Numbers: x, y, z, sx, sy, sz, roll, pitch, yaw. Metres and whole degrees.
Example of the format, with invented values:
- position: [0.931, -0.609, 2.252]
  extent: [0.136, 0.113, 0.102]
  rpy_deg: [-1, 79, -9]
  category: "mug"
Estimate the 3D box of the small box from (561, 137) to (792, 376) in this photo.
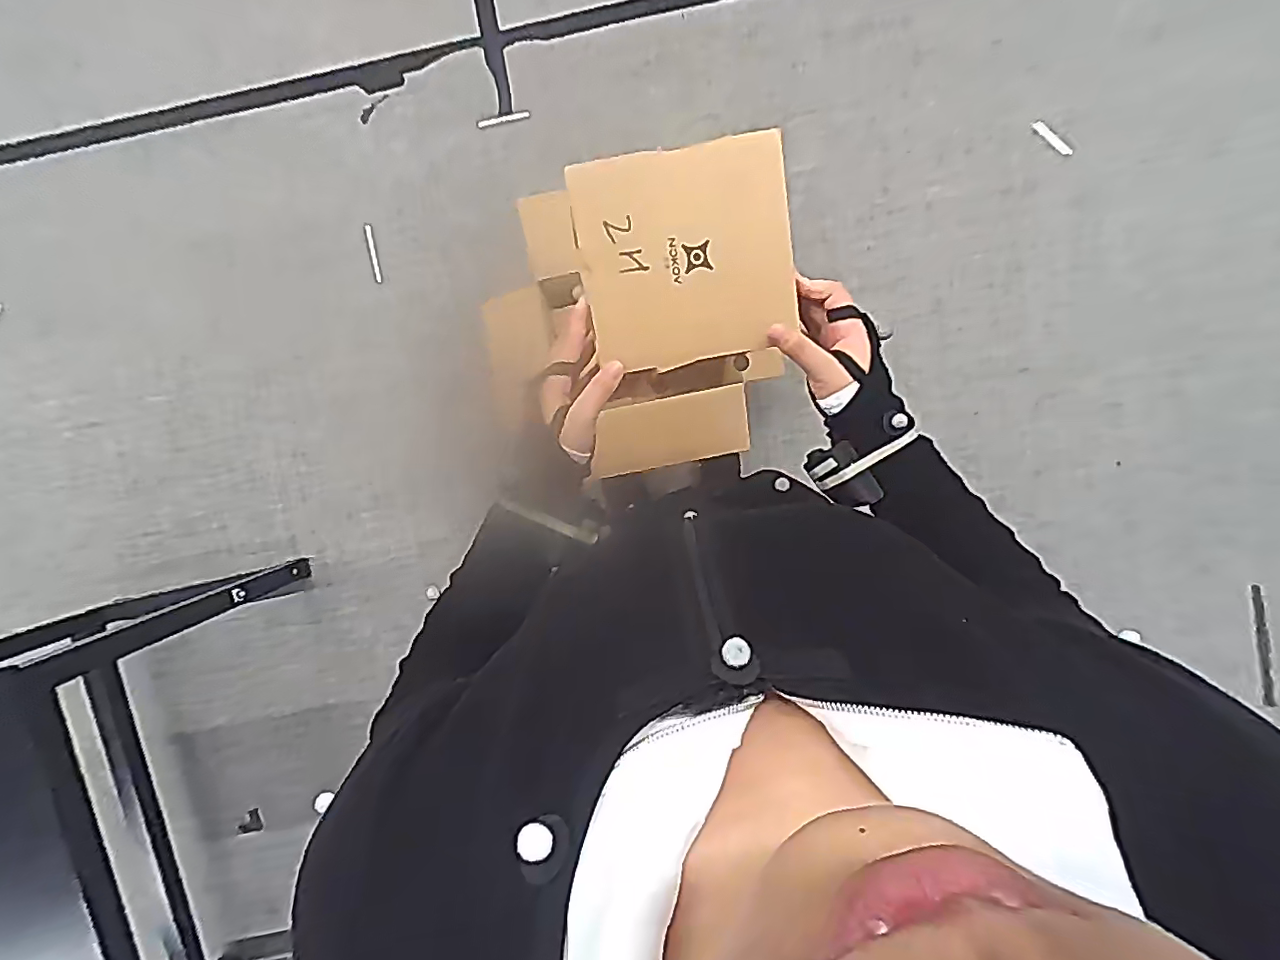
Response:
- position: [0.030, -0.200, 0.522]
  extent: [0.179, 0.176, 0.168]
  rpy_deg: [-10, 103, 0]
  category: "small box"
